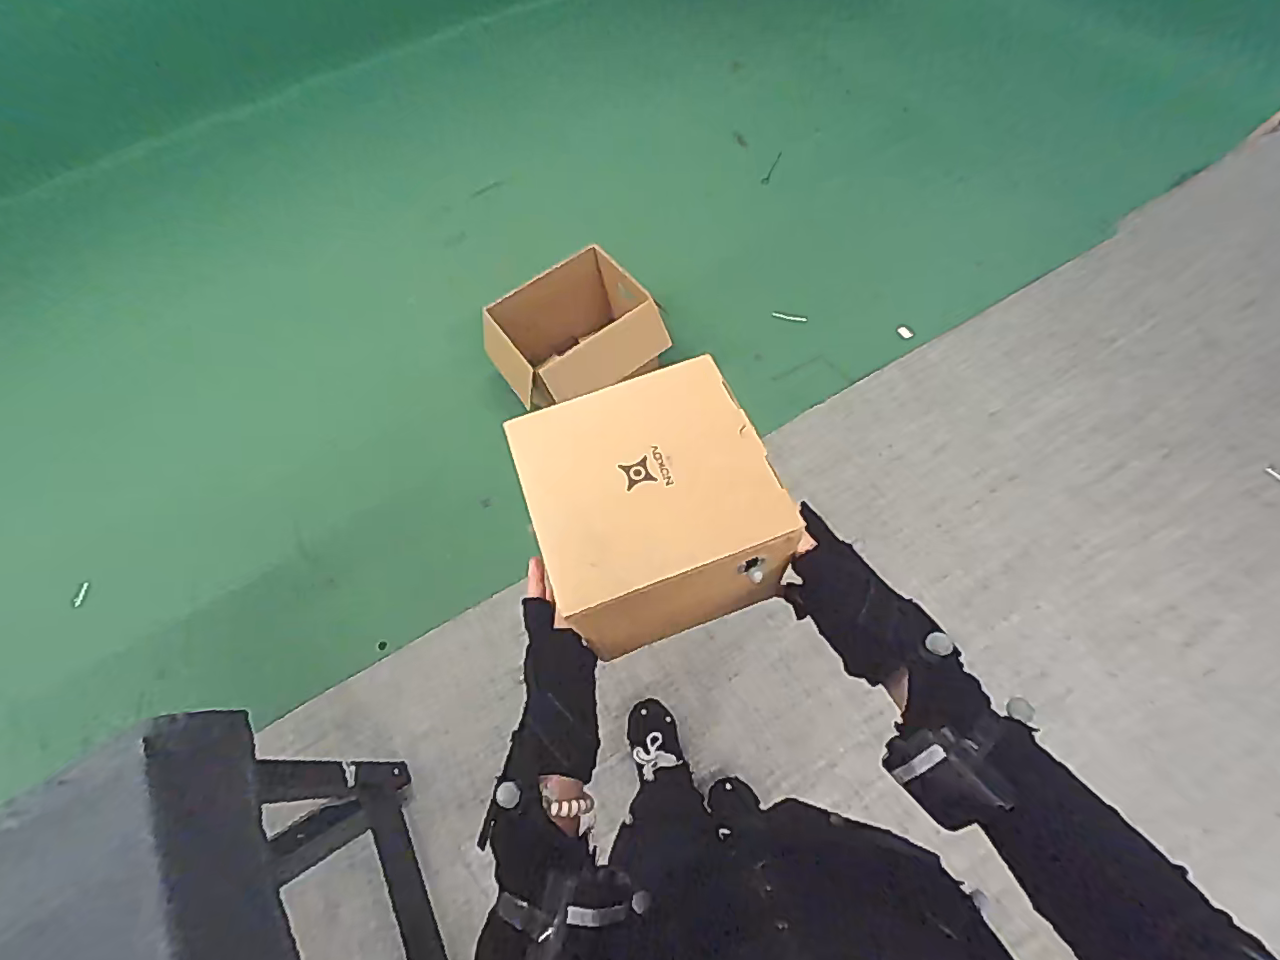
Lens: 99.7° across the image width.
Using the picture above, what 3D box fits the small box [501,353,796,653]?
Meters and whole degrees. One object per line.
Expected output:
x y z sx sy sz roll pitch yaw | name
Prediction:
0.006 0.030 0.459 0.179 0.176 0.168 -20 62 -6 | small box
